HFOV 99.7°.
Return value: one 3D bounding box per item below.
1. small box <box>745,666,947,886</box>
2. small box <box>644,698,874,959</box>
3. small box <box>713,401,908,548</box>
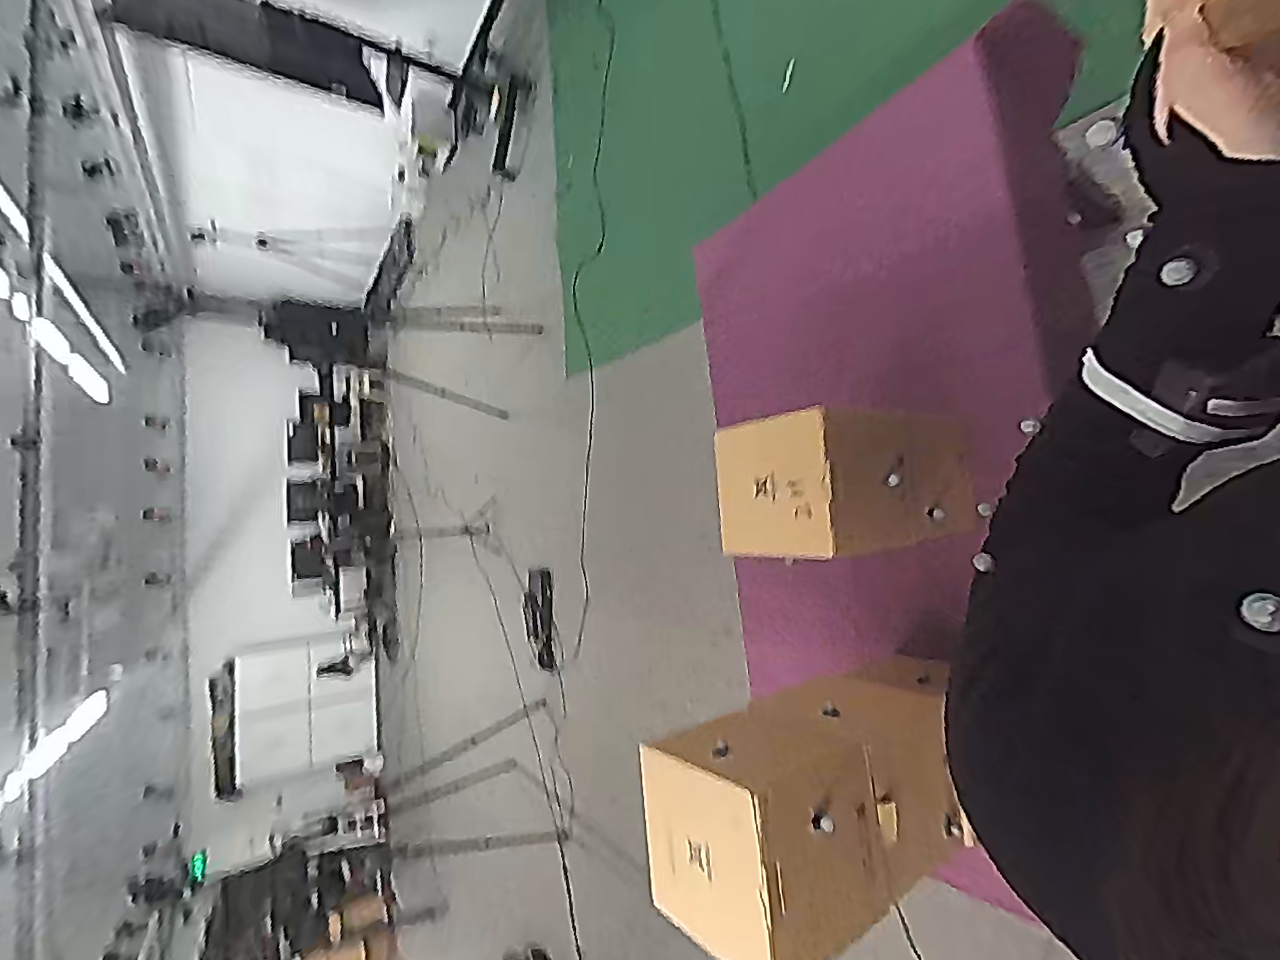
[{"bbox_3d":[0.258,0.343,0.673,0.179,0.176,0.168,-10,84,55],"label":"small box"},{"bbox_3d":[0.127,0.347,0.576,0.179,0.176,0.168,-13,80,54],"label":"small box"},{"bbox_3d":[0.219,-0.004,0.707,0.179,0.176,0.168,-8,86,54],"label":"small box"}]
